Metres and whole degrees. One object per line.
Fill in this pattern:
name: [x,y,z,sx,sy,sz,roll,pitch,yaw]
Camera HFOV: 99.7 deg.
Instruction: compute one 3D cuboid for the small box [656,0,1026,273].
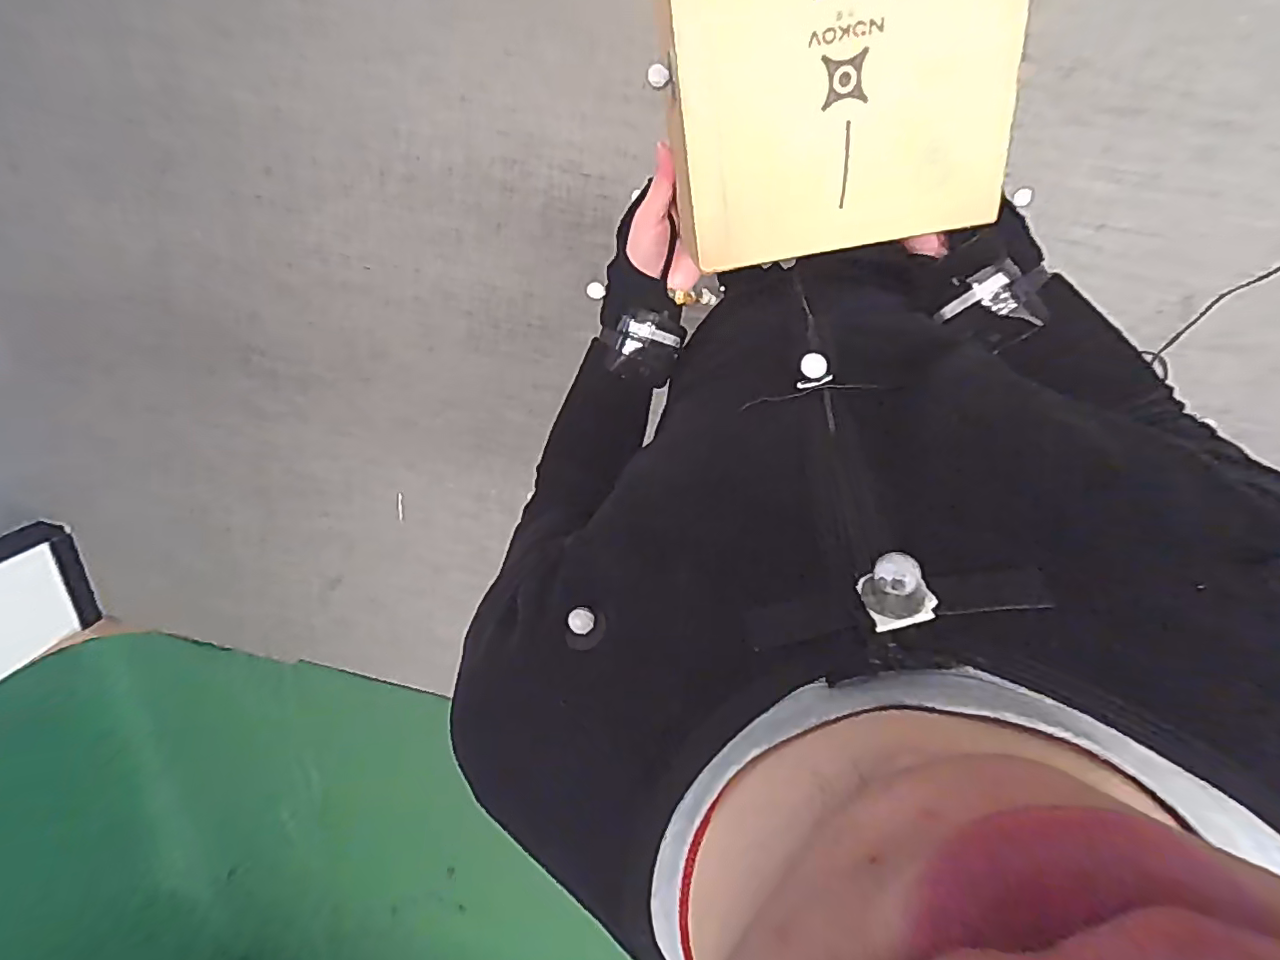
small box: [0.103,-0.244,0.336,0.168,0.176,0.179,-8,121,5]
